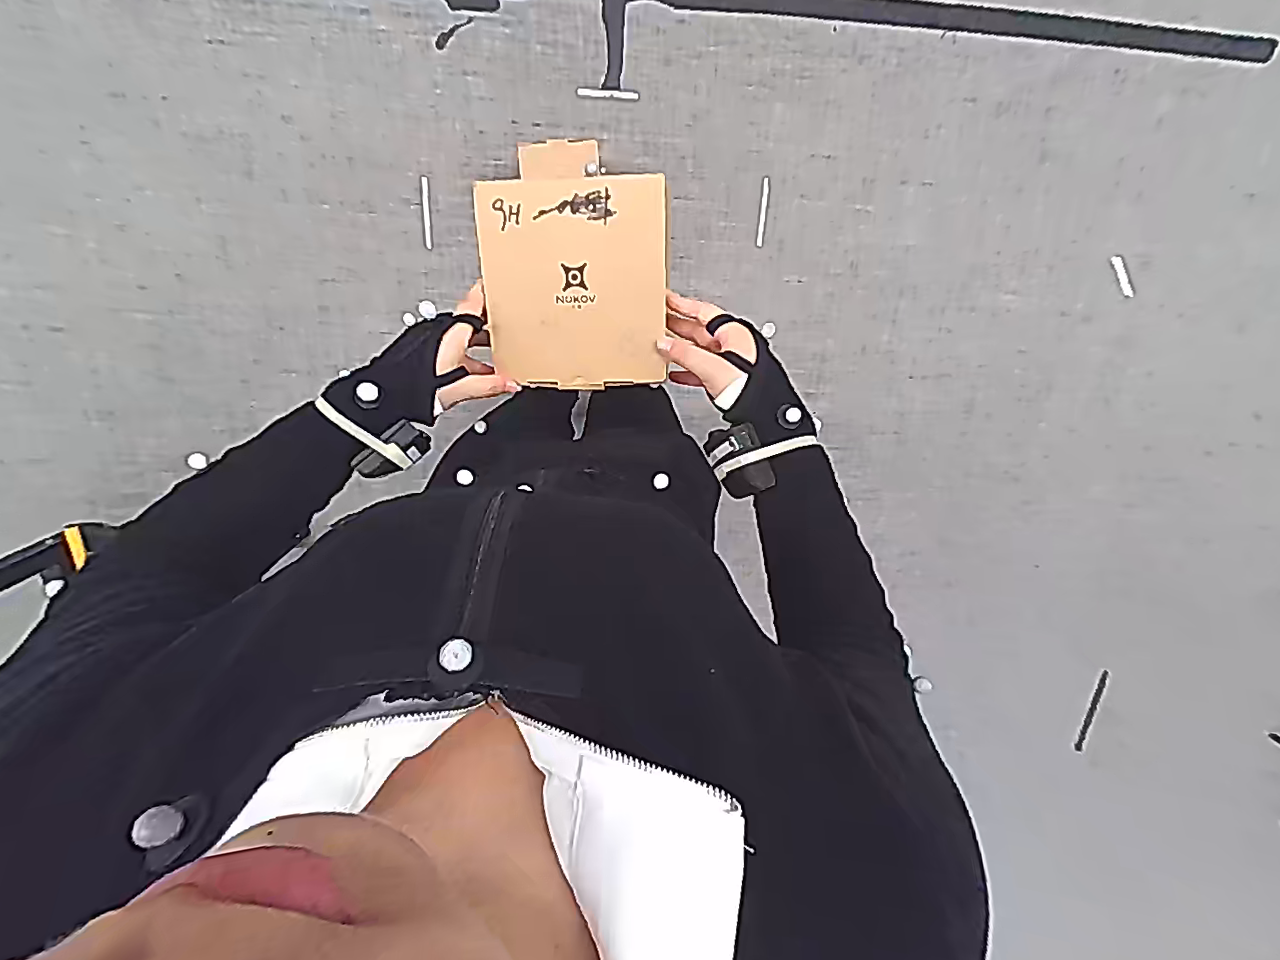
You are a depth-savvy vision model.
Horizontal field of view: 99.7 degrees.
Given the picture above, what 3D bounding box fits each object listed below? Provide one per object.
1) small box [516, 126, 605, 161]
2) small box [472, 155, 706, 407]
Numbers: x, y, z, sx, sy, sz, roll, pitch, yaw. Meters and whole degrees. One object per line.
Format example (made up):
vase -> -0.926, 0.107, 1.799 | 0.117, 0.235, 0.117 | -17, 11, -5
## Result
small box -> -0.155, -0.604, 1.113 | 0.168, 0.176, 0.179 | -5, 112, -3
small box -> -0.029, -0.170, 0.475 | 0.168, 0.176, 0.179 | 0, 111, 4
